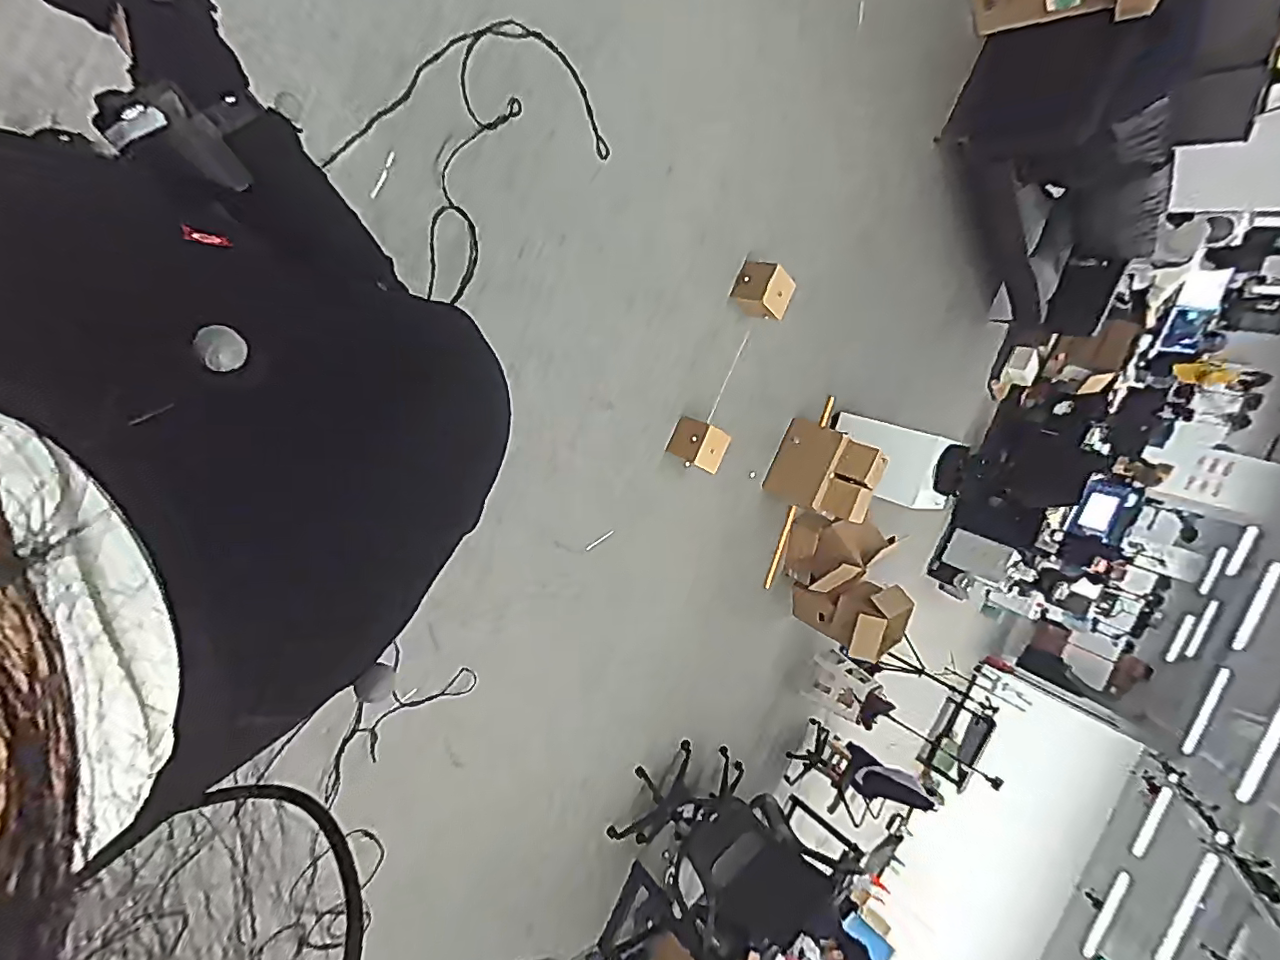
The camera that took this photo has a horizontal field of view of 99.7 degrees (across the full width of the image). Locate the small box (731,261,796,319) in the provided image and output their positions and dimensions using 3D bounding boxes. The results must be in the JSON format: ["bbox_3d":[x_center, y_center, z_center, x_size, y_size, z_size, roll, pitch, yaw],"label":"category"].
[{"bbox_3d":[0.511,-0.790,2.239,0.179,0.176,0.168,21,94,-48],"label":"small box"}]

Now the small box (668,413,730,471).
[{"bbox_3d":[0.243,-0.161,2.282,0.168,0.176,0.179,21,93,-47],"label":"small box"}]
